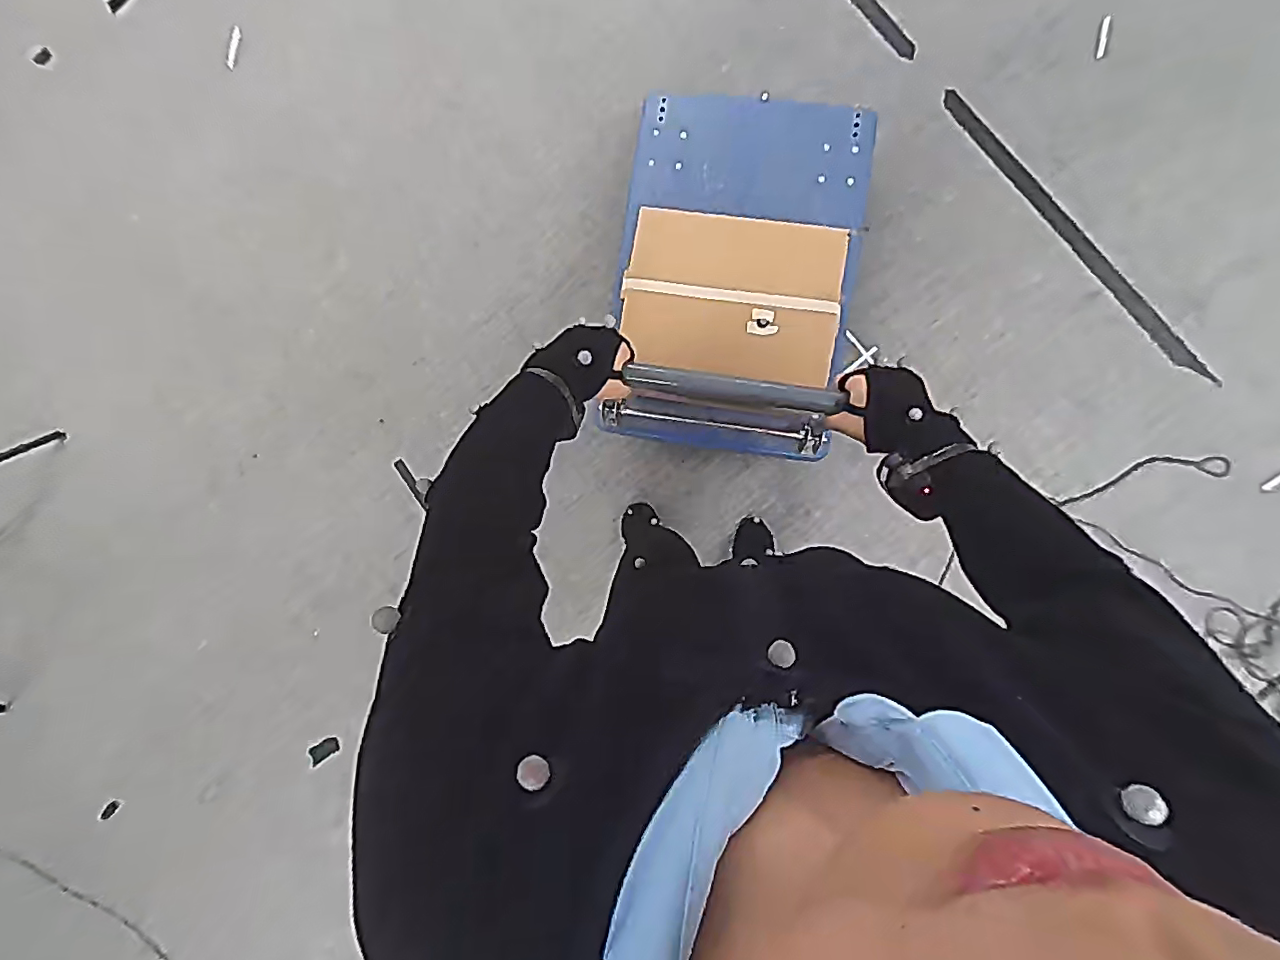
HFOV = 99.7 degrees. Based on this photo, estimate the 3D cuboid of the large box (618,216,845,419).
[{"bbox_3d":[0.182,-0.332,1.181,0.408,0.320,0.320,9,89,5],"label":"large box"}]
